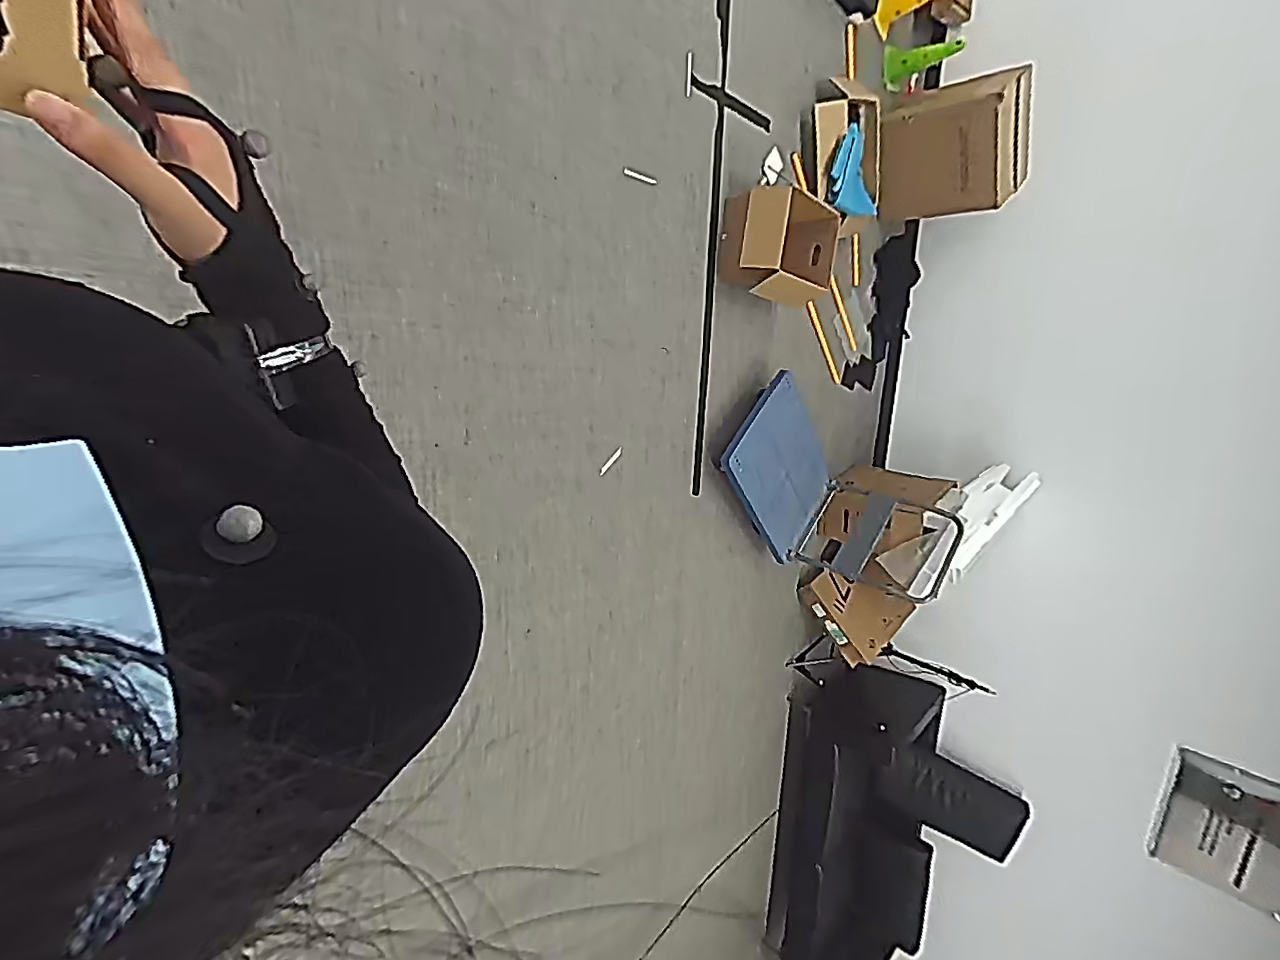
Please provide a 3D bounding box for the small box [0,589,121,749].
[{"bbox_3d":[-1.005,0.310,0.911,0.168,0.176,0.179,-14,110,-43],"label":"small box"}]

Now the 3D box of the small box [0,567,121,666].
[{"bbox_3d":[-1.119,0.277,1.023,0.168,0.176,0.179,-15,112,-42],"label":"small box"}]
